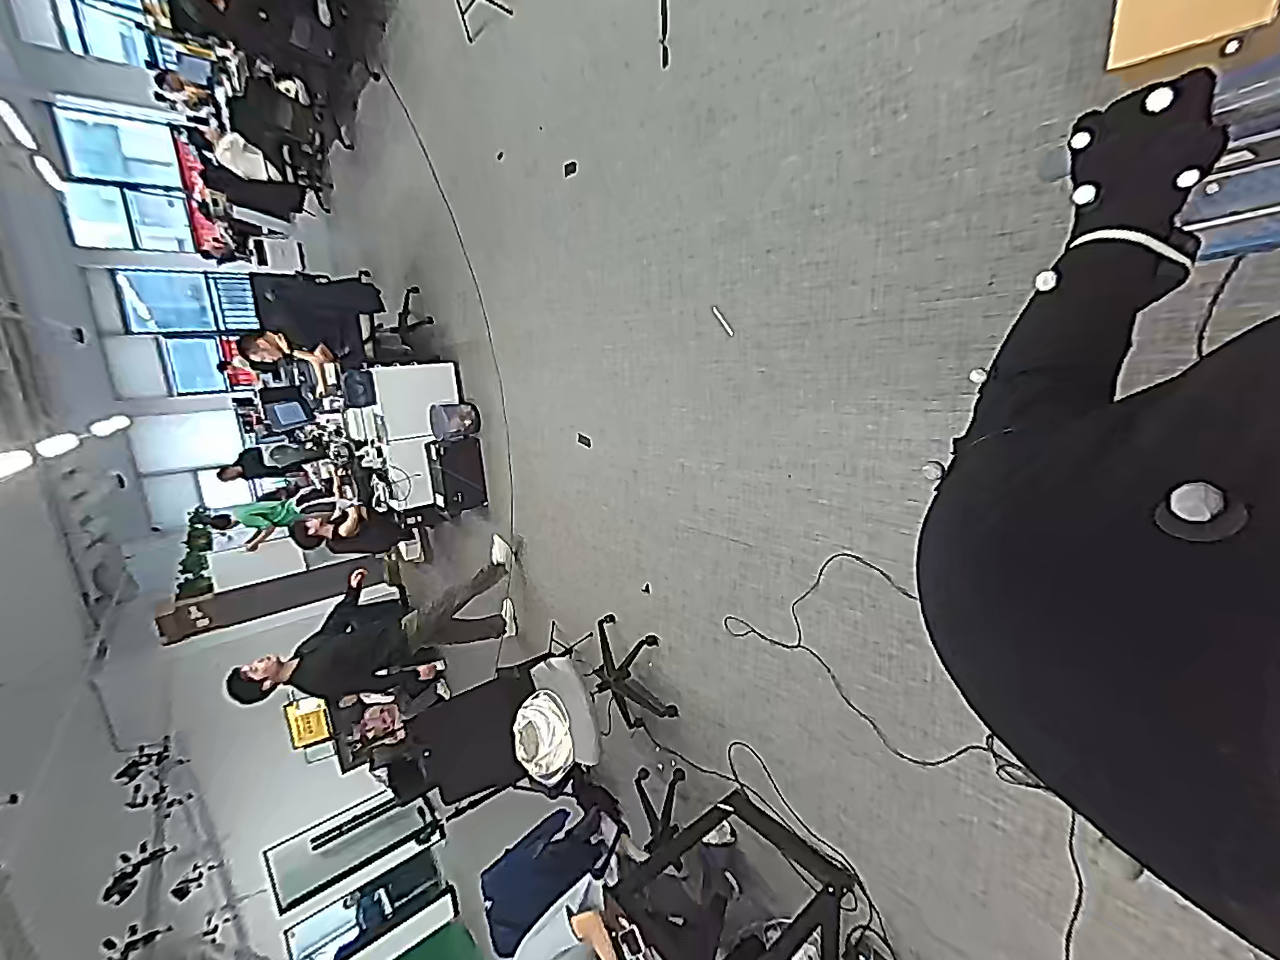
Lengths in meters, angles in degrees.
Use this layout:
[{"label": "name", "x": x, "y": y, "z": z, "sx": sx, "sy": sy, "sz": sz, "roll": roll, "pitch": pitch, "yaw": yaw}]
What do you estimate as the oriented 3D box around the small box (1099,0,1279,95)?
[{"label": "small box", "x": 0.832, "y": -0.714, "z": 0.810, "sx": 0.179, "sy": 0.176, "sz": 0.168, "roll": 14, "pitch": 112, "yaw": 48}]
